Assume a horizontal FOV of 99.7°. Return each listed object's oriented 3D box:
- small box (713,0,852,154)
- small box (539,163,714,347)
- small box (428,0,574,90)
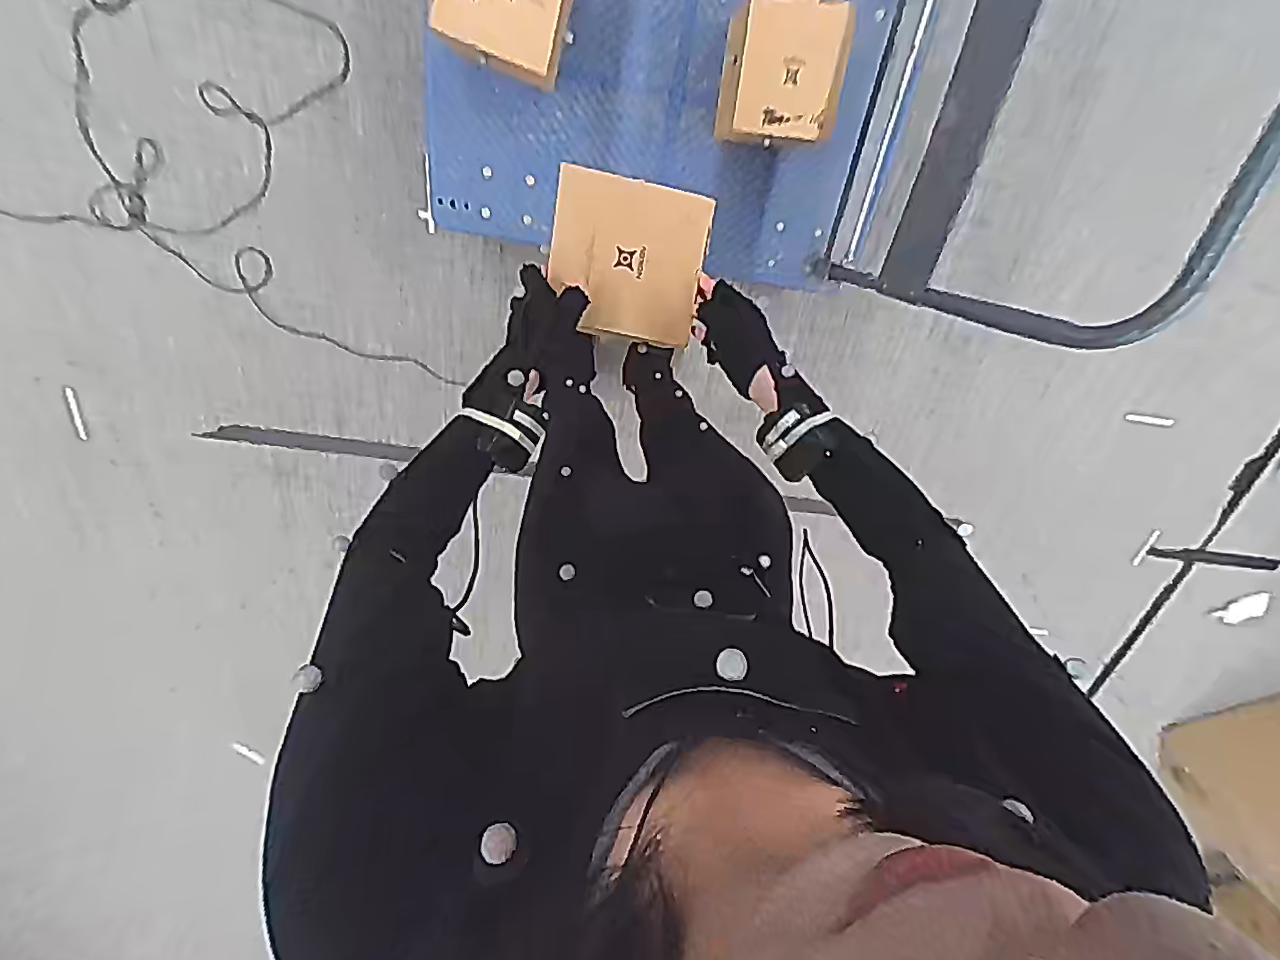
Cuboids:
[{"bbox_3d":[0.227,-0.669,0.914,0.168,0.176,0.179,3,116,-6],"label":"small box"},{"bbox_3d":[-0.026,-0.264,0.677,0.179,0.176,0.168,8,102,-9],"label":"small box"},{"bbox_3d":[-0.207,-0.740,0.841,0.179,0.176,0.168,15,115,-13],"label":"small box"}]
